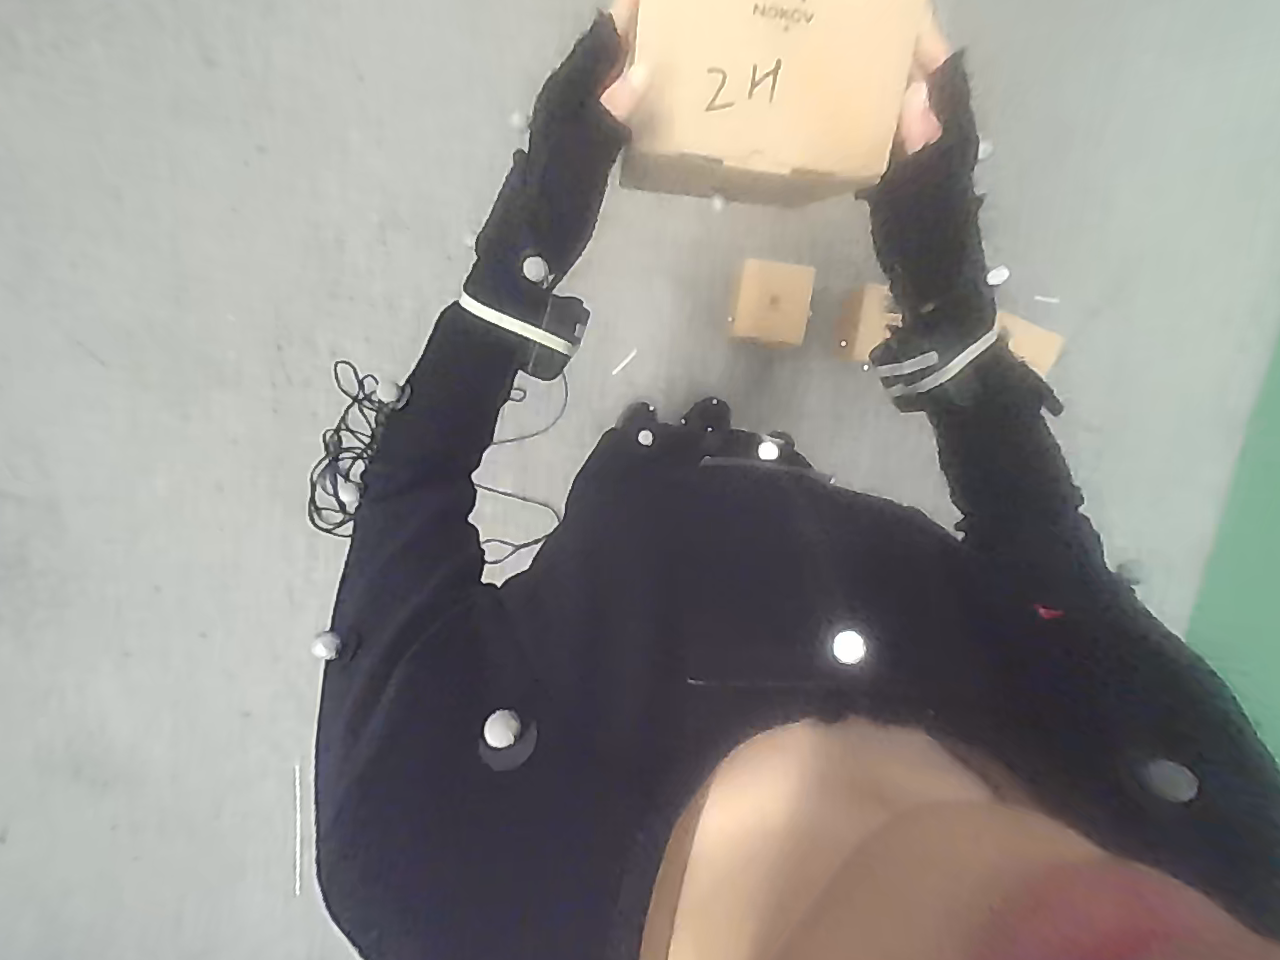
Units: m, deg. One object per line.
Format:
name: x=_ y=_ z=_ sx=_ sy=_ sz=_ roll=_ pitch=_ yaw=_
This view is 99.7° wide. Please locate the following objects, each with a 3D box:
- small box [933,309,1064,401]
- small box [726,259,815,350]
small box: x=0.867 y=-0.301 z=1.330 sx=0.179 sy=0.176 sz=0.168 roll=21 pitch=99 yaw=-4
small box: x=0.310 y=-0.422 z=1.324 sx=0.168 sy=0.176 sz=0.179 roll=7 pitch=99 yaw=0
